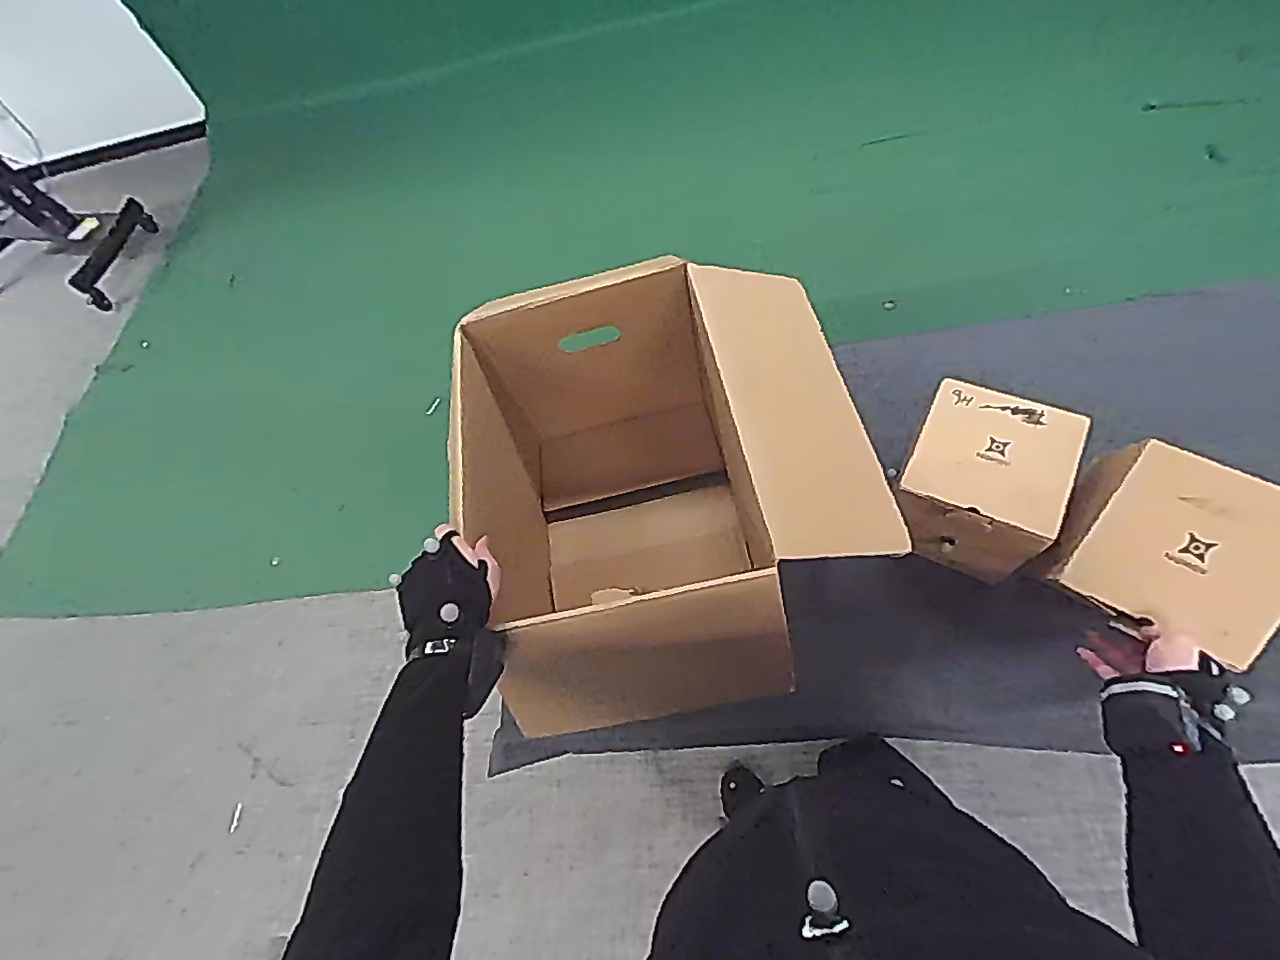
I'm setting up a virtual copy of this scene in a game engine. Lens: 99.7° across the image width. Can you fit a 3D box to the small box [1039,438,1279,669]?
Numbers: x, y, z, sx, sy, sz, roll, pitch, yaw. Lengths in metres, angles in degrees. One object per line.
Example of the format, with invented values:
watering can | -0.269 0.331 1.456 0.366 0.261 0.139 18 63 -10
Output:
small box | 0.587 0.075 0.607 0.168 0.176 0.179 30 98 24
